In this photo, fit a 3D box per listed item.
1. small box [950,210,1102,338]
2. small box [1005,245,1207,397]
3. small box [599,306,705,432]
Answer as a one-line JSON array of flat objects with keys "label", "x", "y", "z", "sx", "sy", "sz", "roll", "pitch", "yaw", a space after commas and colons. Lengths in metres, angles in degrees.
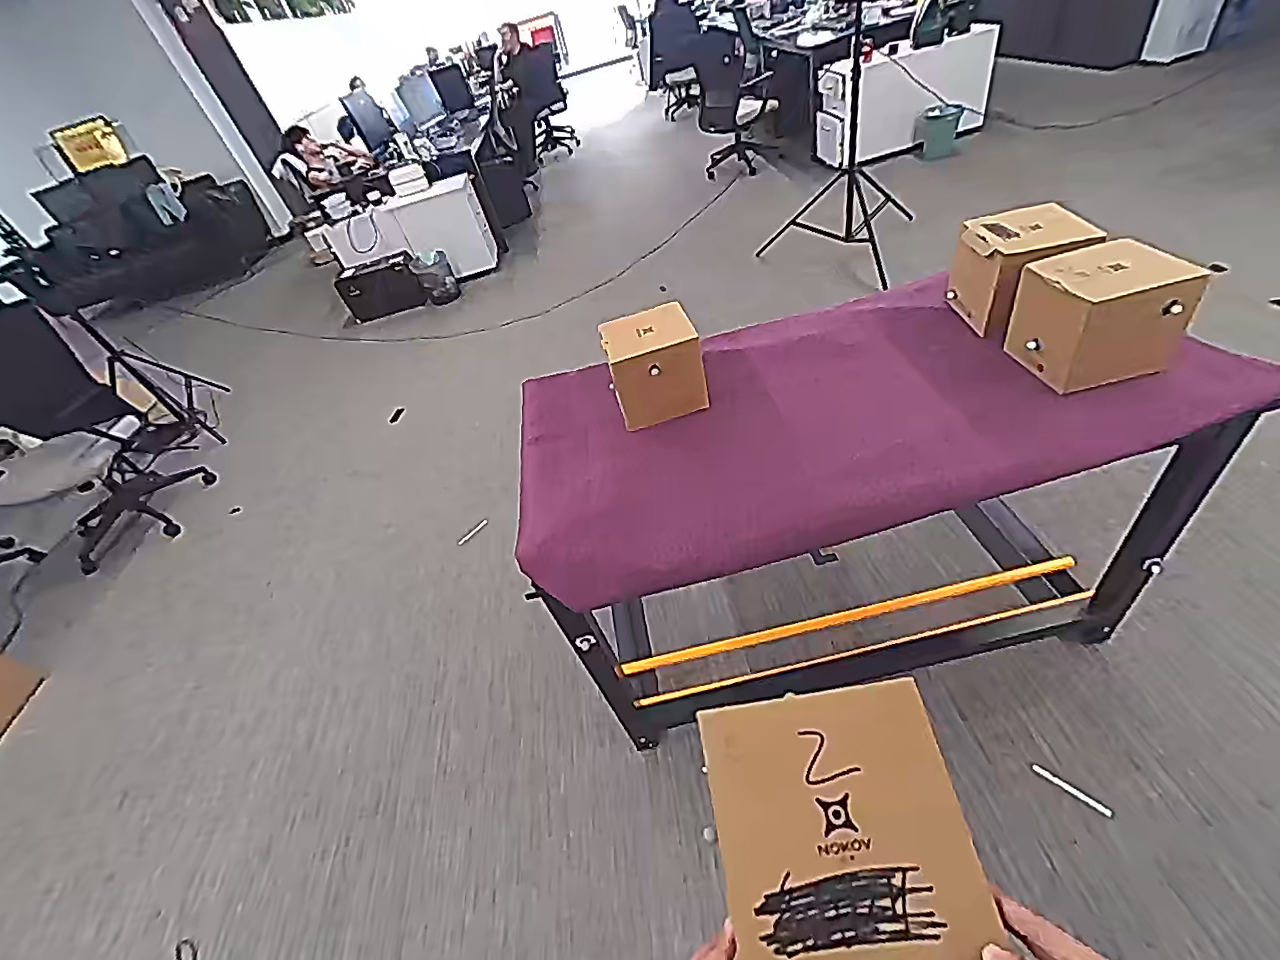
[{"label": "small box", "x": 0.735, "y": -0.398, "z": 1.059, "sx": 0.179, "sy": 0.176, "sz": 0.168, "roll": -10, "pitch": 44, "yaw": 7}, {"label": "small box", "x": 0.762, "y": -0.266, "z": 0.911, "sx": 0.179, "sy": 0.176, "sz": 0.168, "roll": -14, "pitch": 41, "yaw": 5}, {"label": "small box", "x": 0.029, "y": -0.226, "z": 1.111, "sx": 0.179, "sy": 0.176, "sz": 0.168, "roll": -17, "pitch": 42, "yaw": 0}]
